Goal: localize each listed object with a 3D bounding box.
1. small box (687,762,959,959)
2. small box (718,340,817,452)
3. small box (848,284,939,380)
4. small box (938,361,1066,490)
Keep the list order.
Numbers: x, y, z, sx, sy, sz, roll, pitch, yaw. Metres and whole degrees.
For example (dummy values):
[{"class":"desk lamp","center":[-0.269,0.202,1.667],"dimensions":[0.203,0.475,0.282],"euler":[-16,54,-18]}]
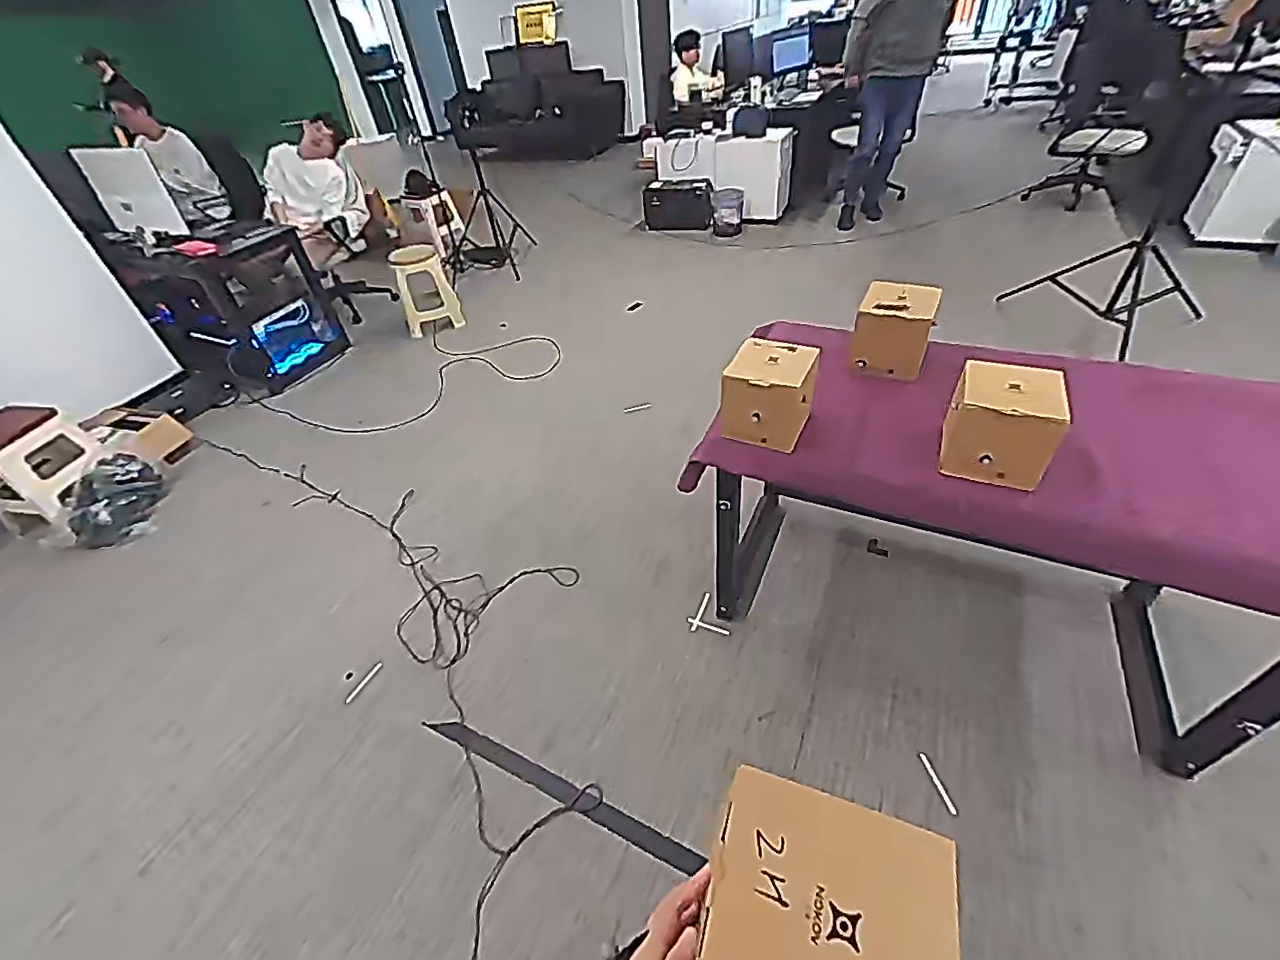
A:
[{"class":"small box","center":[0.143,0.375,0.456],"dimensions":[0.179,0.176,0.168],"euler":[14,47,14]},{"class":"small box","center":[0.284,-0.187,1.208],"dimensions":[0.168,0.176,0.179],"euler":[16,47,23]},{"class":"small box","center":[0.633,-0.372,1.363],"dimensions":[0.168,0.176,0.179],"euler":[17,48,24]},{"class":"small box","center":[0.702,-0.109,1.066],"dimensions":[0.168,0.176,0.179],"euler":[14,45,22]}]
